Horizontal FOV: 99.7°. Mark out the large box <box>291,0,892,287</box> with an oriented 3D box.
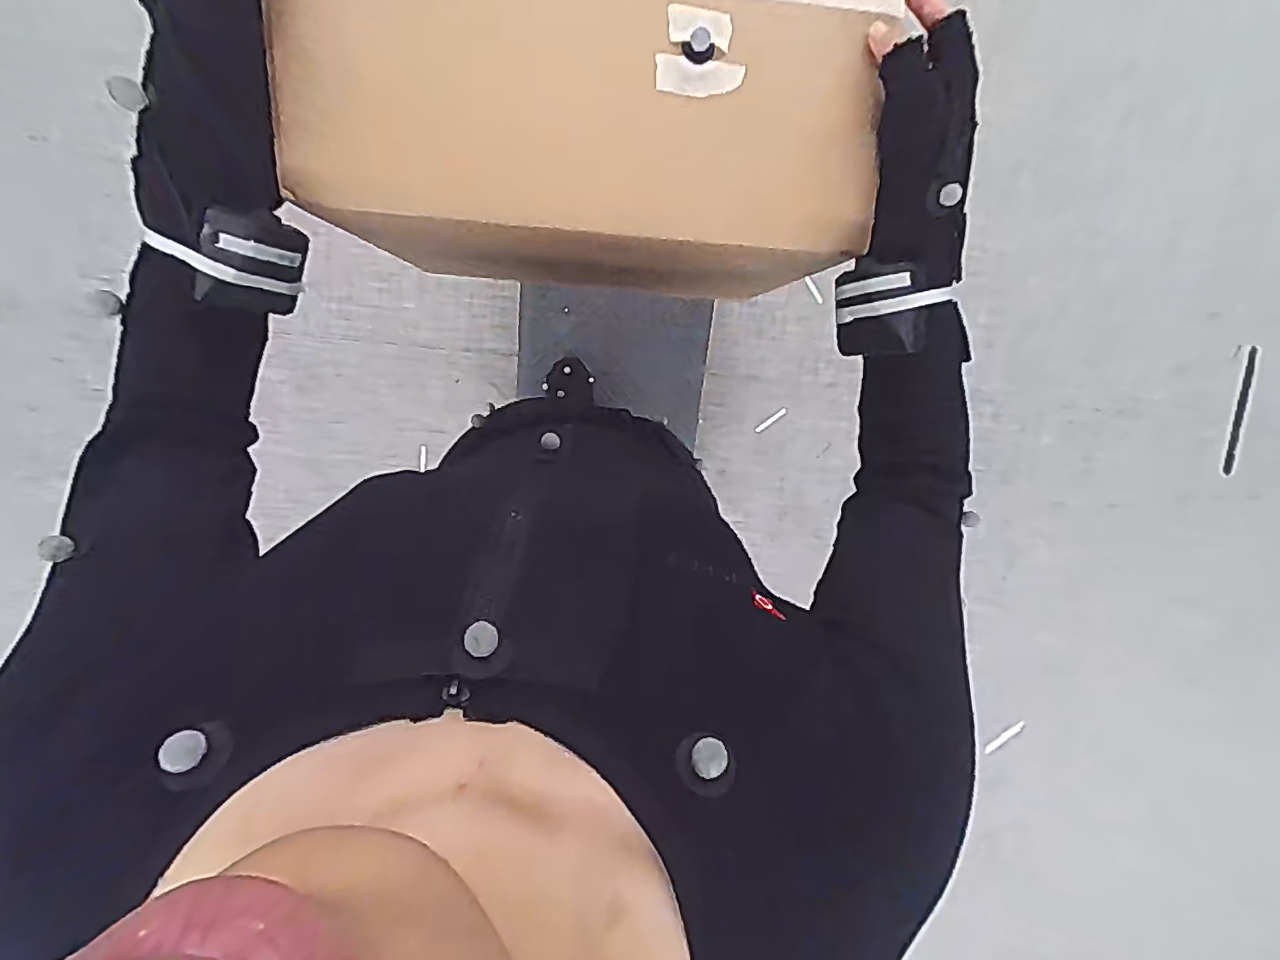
[{"bbox_3d":[-0.037,-0.369,0.499,0.408,0.320,0.320,3,103,-6],"label":"large box"}]
